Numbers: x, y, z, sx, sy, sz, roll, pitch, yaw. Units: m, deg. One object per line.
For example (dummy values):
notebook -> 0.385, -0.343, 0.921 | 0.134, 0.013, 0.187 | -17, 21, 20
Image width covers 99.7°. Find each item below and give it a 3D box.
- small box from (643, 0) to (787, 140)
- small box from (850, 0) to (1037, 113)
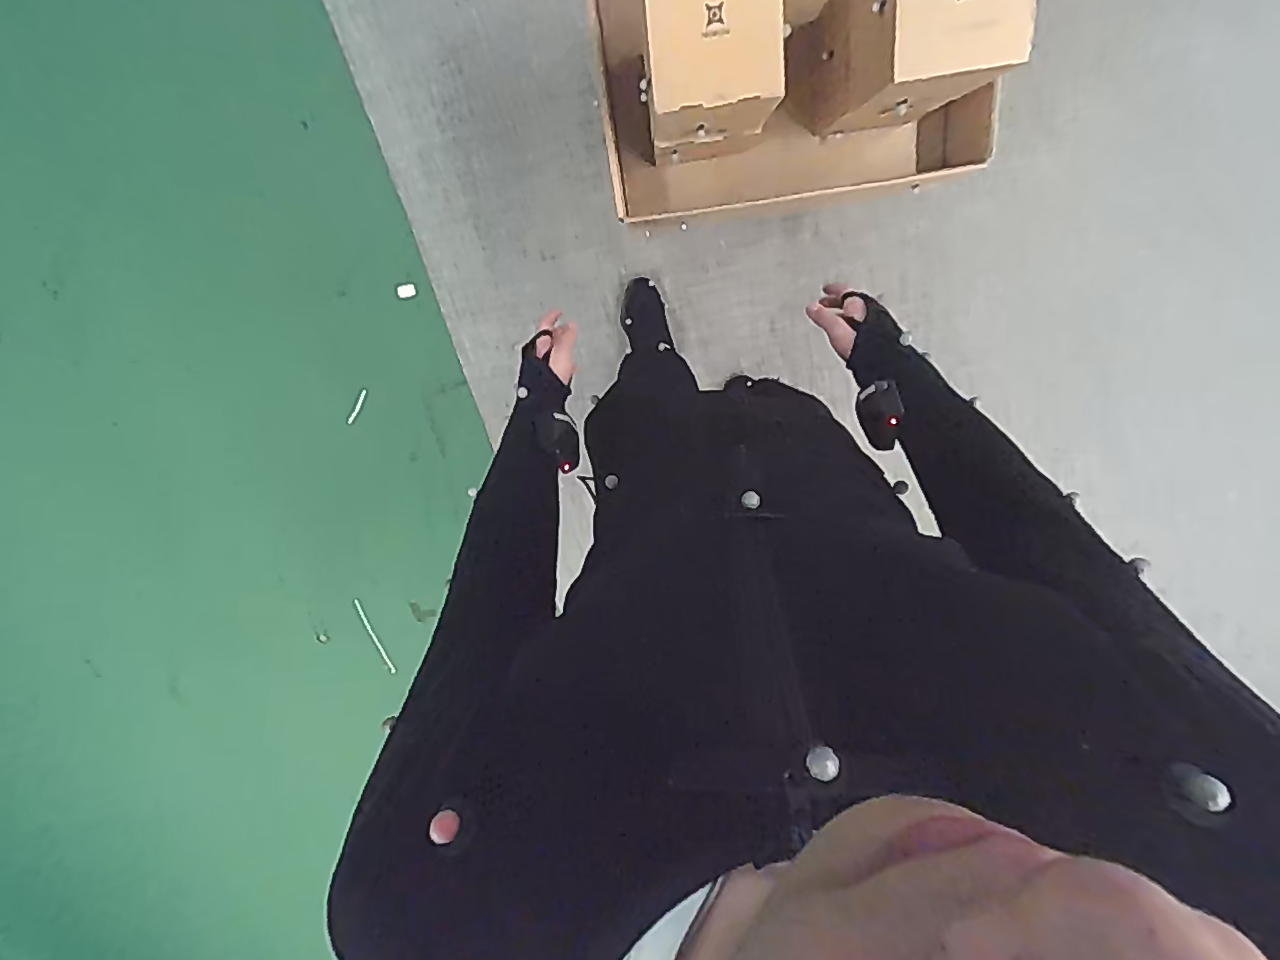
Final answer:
small box -> 0.093, -0.583, 0.723 | 0.168, 0.176, 0.179 | -6, 111, 2
small box -> 0.386, -0.613, 0.707 | 0.168, 0.176, 0.179 | -6, 112, 4
